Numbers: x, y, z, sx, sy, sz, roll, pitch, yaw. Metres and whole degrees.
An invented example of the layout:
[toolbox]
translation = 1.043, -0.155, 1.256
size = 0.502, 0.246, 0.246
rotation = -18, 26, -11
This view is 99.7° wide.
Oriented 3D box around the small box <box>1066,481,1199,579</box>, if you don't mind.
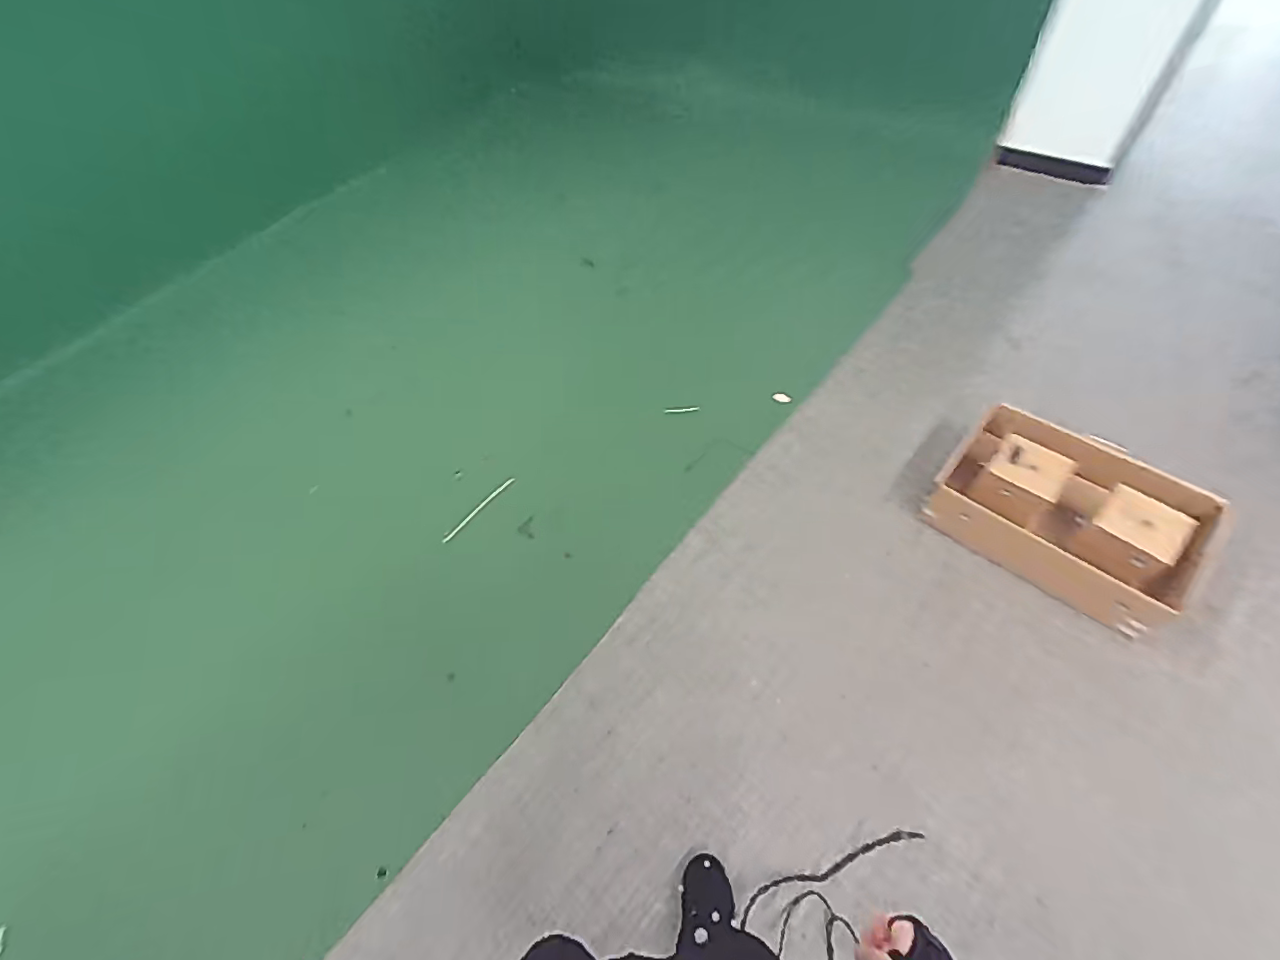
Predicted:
[small box]
translation = 1.298, 0.141, 1.439
size = 0.168, 0.176, 0.179
rotation = -42, 61, -18
